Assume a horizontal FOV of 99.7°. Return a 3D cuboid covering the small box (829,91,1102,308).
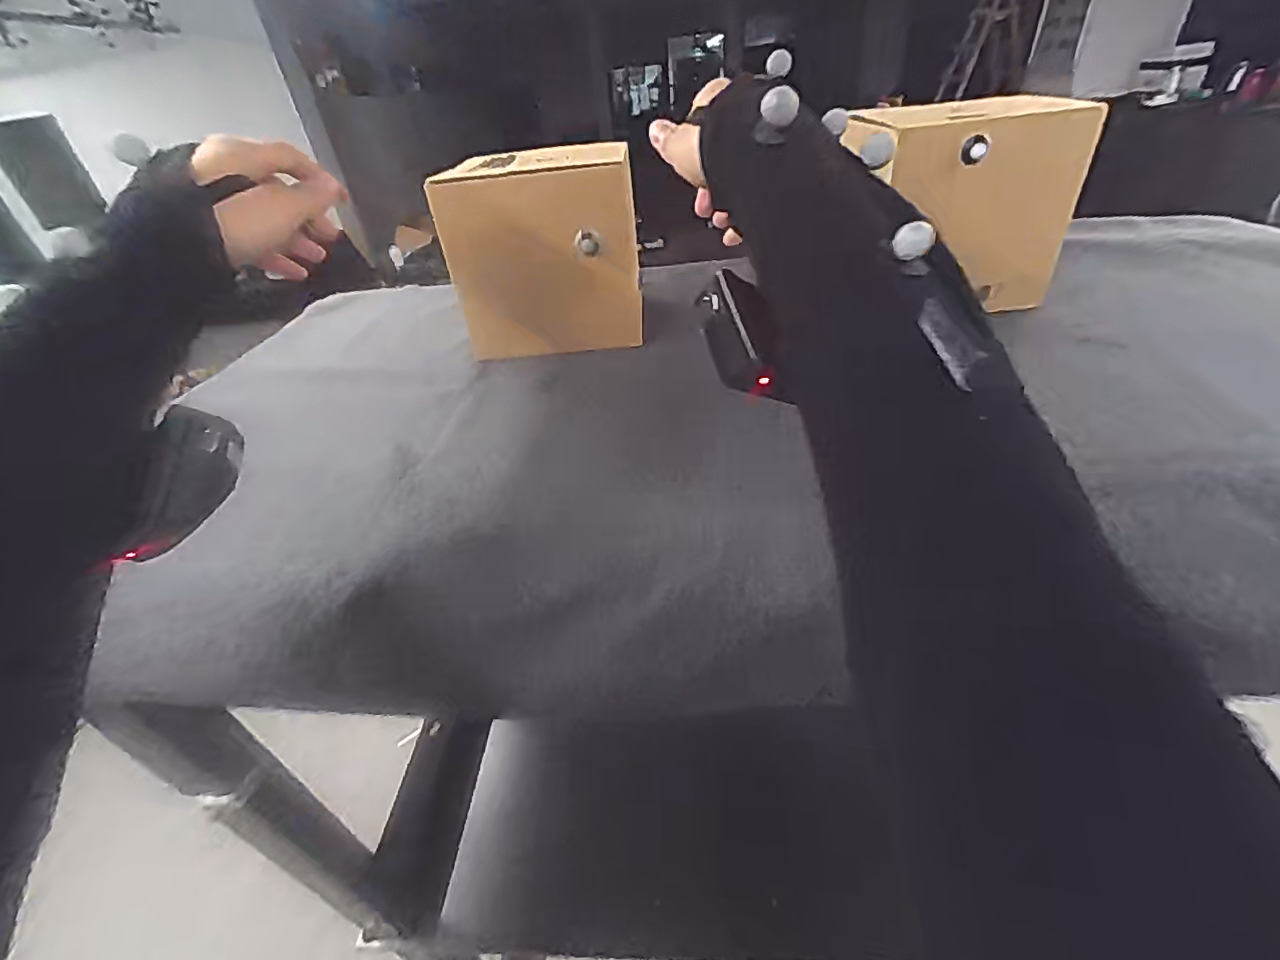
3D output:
[{"bbox_3d":[0.302,-0.287,0.555,0.168,0.176,0.179,-4,35,5],"label":"small box"}]
